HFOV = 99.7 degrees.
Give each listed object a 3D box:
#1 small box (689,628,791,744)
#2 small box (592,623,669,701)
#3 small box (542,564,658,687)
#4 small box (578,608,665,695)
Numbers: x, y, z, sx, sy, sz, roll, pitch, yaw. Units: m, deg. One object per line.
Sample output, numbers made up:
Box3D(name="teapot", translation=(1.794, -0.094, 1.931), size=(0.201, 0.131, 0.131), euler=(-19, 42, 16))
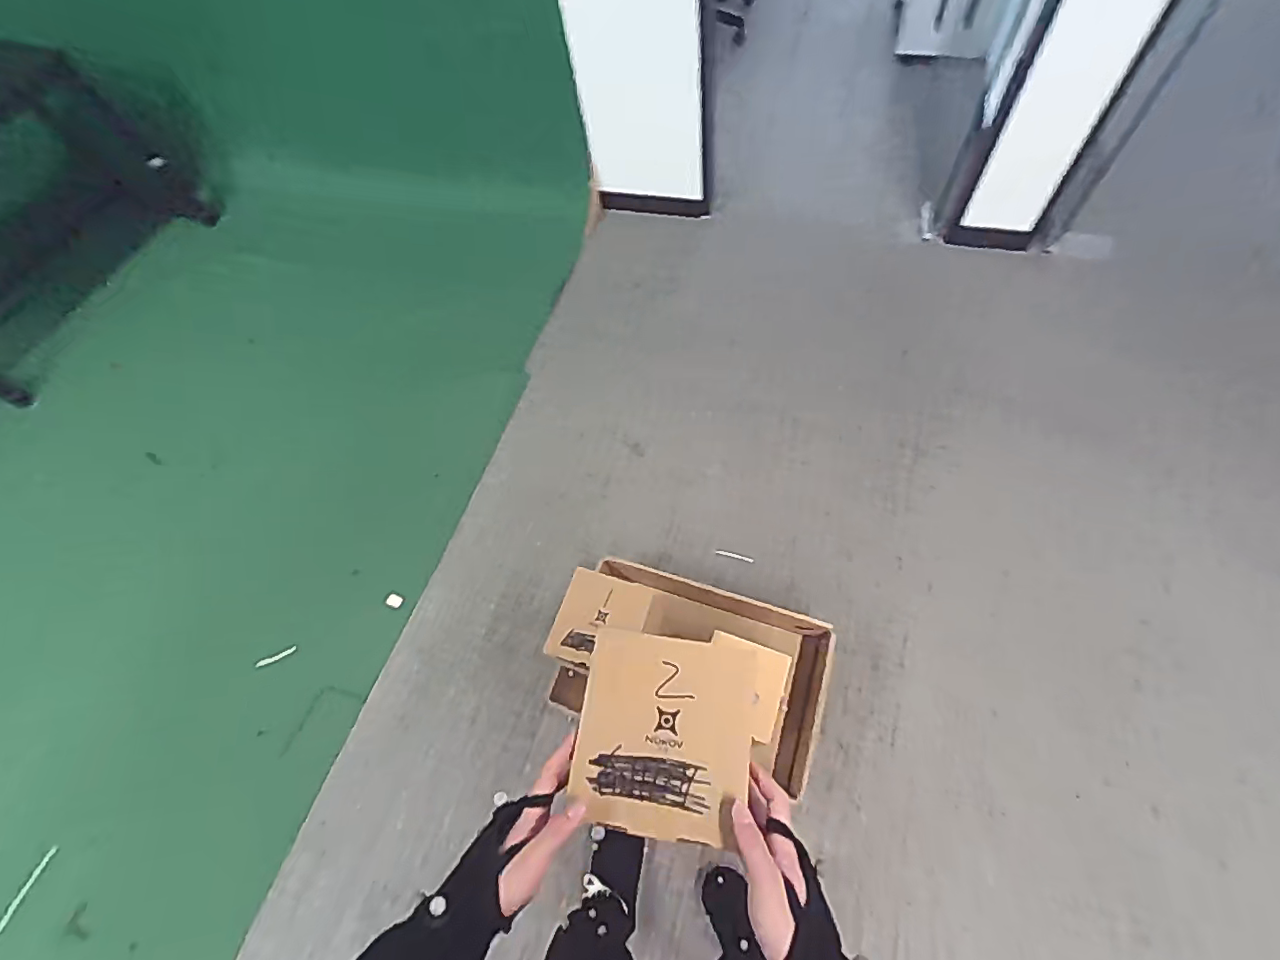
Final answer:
Box3D(name="small box", translation=(0.209, 0.441, 1.151), size=(0.168, 0.176, 0.179), euler=(17, 67, 15))
Box3D(name="small box", translation=(-0.031, 0.436, 1.365), size=(0.168, 0.176, 0.179), euler=(17, 66, 15))
Box3D(name="small box", translation=(-0.067, 0.294, 1.073), size=(0.168, 0.176, 0.179), euler=(15, 65, 14))
Box3D(name="small box", translation=(-0.049, 0.365, 1.220), size=(0.168, 0.176, 0.179), euler=(18, 67, 14))
